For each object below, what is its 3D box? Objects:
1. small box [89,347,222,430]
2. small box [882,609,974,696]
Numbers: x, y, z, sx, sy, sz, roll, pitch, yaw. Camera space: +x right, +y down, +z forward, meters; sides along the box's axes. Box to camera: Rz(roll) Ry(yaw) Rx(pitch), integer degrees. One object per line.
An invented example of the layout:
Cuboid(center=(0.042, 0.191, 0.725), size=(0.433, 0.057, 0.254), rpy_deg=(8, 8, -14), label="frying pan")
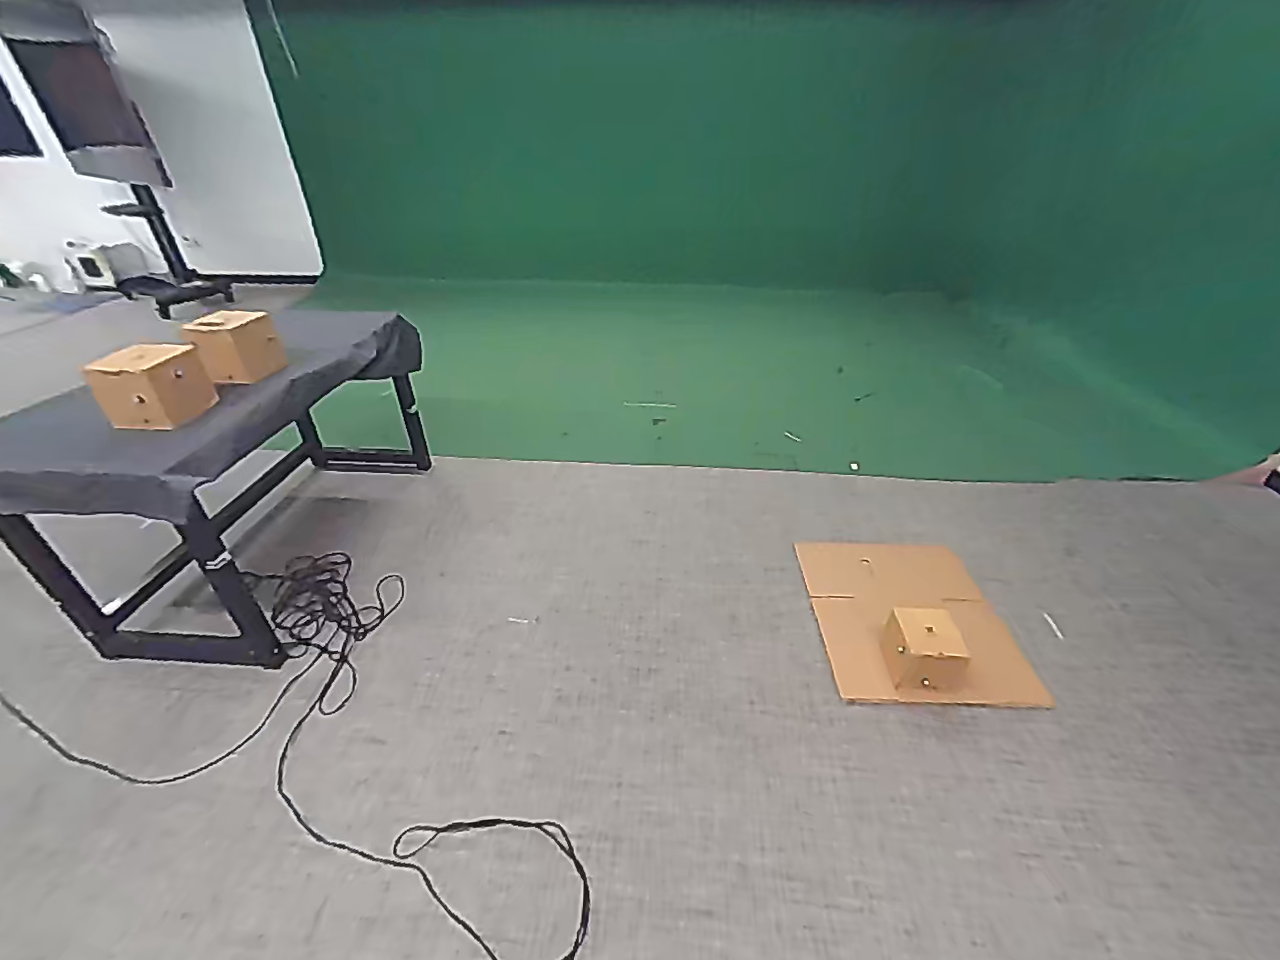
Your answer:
Cuboid(center=(-1.267, -0.243, 1.433), size=(0.168, 0.176, 0.179), rpy_deg=(3, 33, 3), label="small box")
Cuboid(center=(0.832, 0.504, 1.587), size=(0.168, 0.176, 0.179), rpy_deg=(2, 35, 3), label="small box")
